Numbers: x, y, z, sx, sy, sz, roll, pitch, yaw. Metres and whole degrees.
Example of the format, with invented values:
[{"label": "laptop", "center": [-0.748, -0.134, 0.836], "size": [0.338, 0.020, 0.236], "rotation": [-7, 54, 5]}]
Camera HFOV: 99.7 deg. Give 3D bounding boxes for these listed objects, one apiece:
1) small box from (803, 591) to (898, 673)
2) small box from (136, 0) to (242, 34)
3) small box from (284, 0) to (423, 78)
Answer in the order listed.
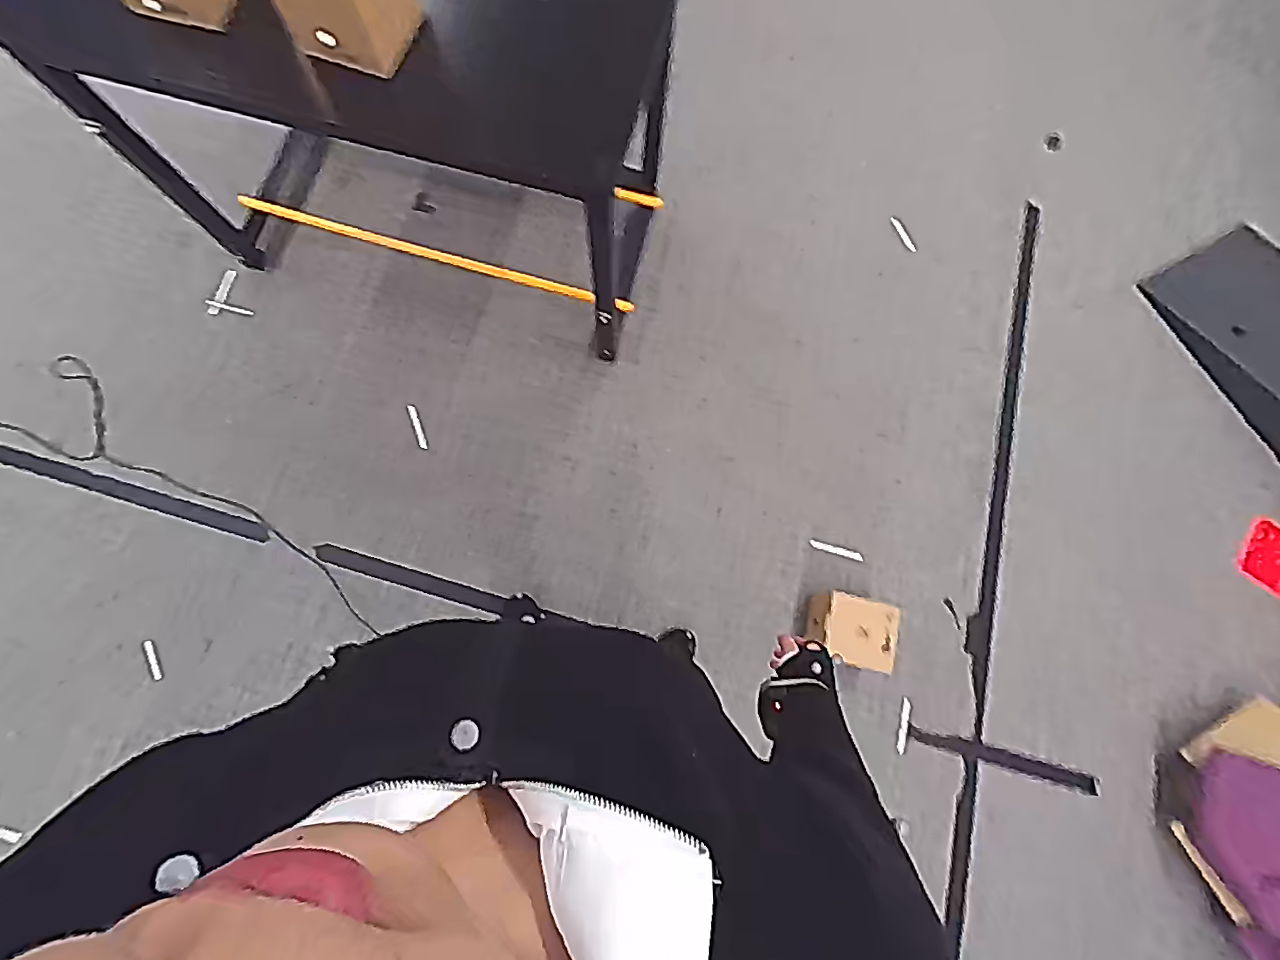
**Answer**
[{"label": "small box", "center": [0.549, 0.398, 1.429], "size": [0.179, 0.176, 0.168], "rotation": [14, 77, 1]}, {"label": "small box", "center": [-0.805, -0.922, 0.920], "size": [0.168, 0.176, 0.179], "rotation": [11, 78, 1]}, {"label": "small box", "center": [-0.492, -0.840, 0.913], "size": [0.168, 0.176, 0.179], "rotation": [19, 77, 2]}]
